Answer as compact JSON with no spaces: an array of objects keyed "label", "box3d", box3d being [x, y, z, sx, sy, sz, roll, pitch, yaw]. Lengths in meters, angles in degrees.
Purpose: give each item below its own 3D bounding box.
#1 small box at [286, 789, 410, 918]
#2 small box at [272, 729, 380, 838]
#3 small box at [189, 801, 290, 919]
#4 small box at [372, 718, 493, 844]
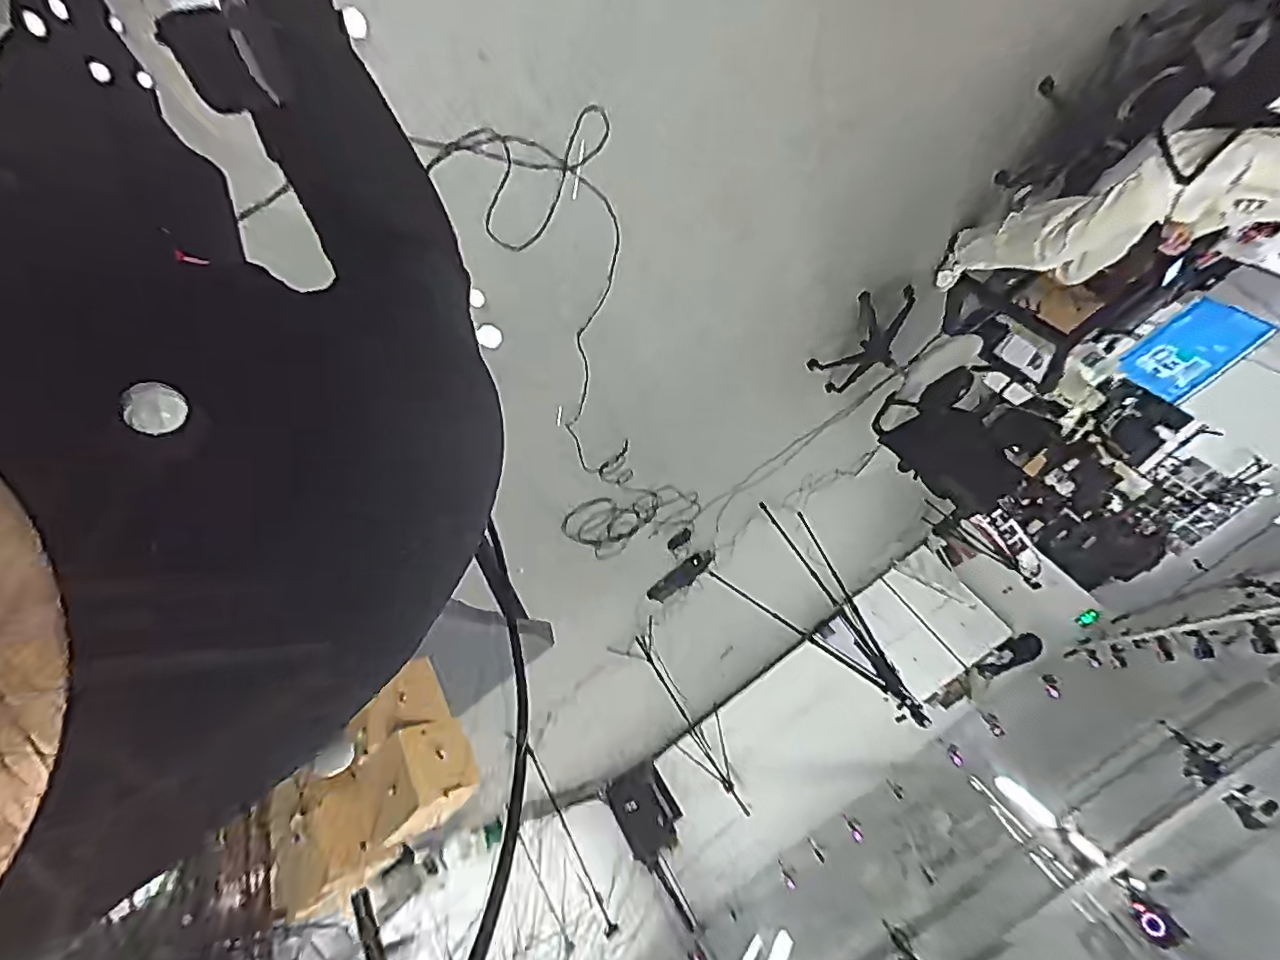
[{"label":"small box","box3d":[-0.679,0.850,1.255,0.168,0.176,0.179,-46,149,11]},{"label":"small box","box3d":[-0.761,0.737,1.337,0.168,0.176,0.179,-40,150,2]},{"label":"small box","box3d":[-1.006,0.955,1.378,0.179,0.176,0.168,-42,150,5]},{"label":"small box","box3d":[-0.469,0.656,1.208,0.179,0.176,0.168,-49,148,17]}]
